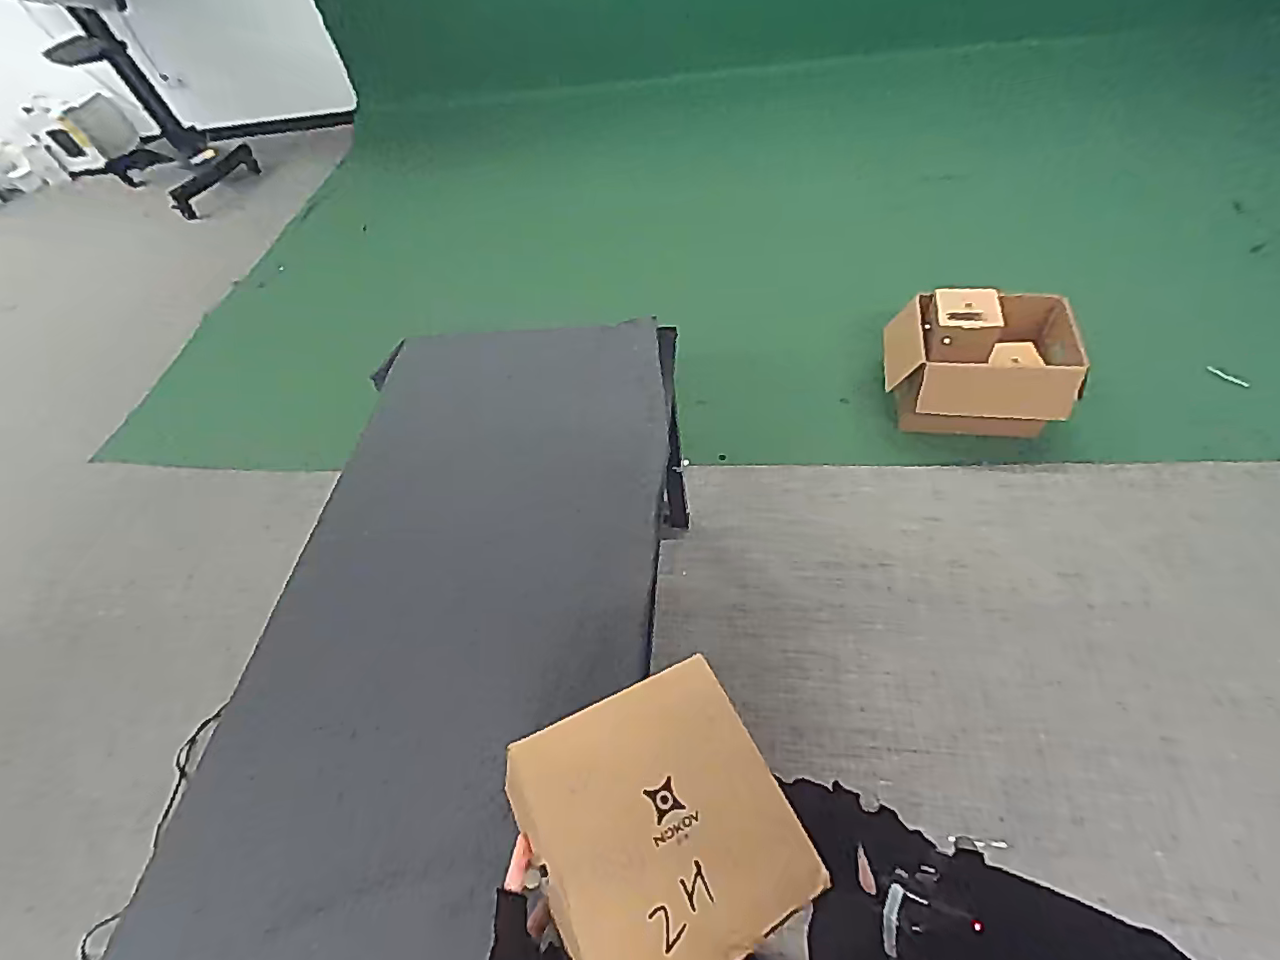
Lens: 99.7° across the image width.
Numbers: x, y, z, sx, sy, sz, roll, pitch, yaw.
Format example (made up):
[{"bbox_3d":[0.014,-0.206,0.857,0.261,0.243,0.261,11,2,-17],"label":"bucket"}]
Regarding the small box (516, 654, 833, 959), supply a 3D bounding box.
[{"bbox_3d":[0.006,0.273,0.427,0.168,0.176,0.179,-16,57,-24],"label":"small box"}]
